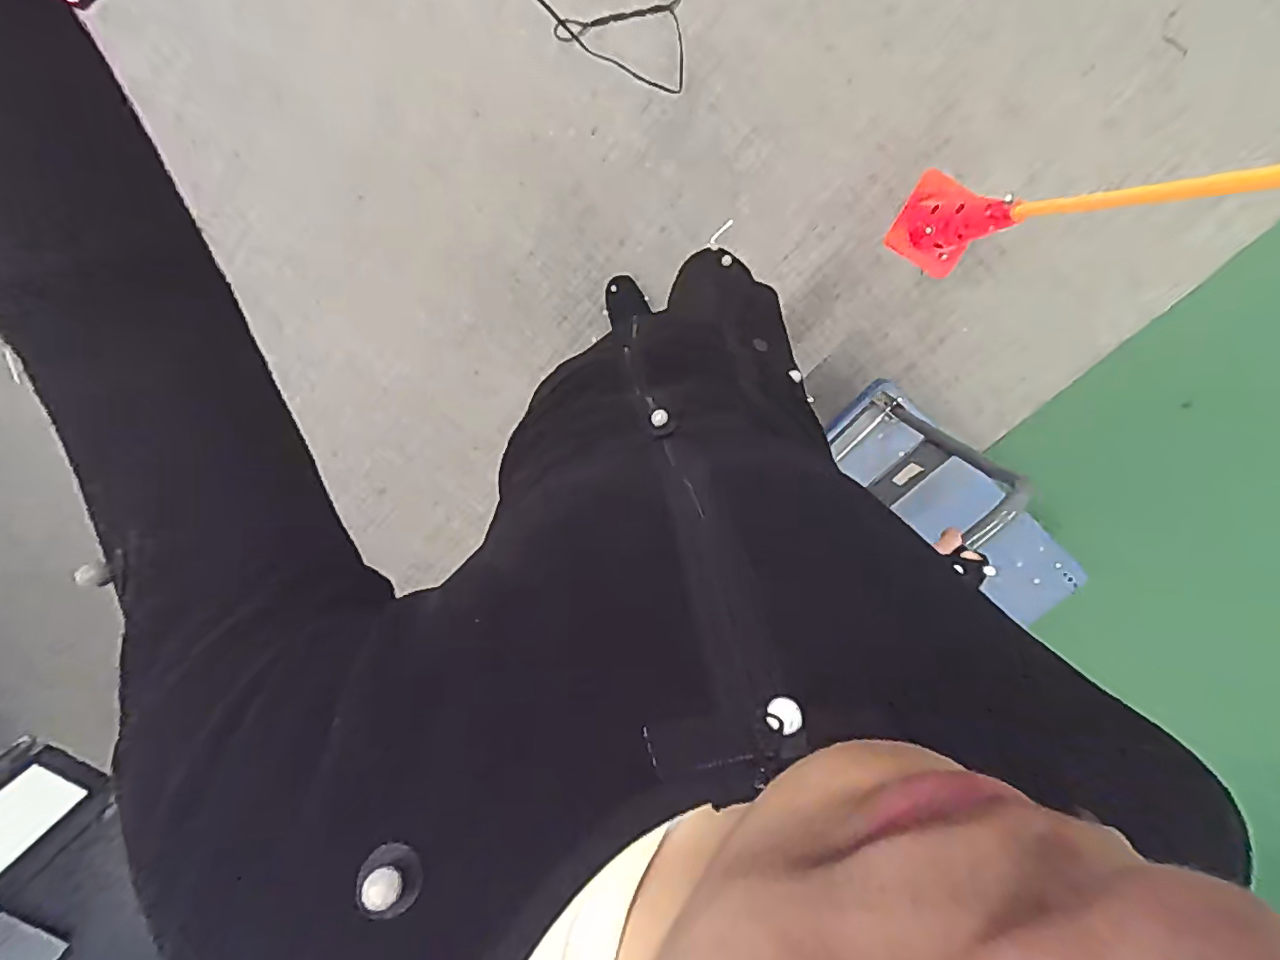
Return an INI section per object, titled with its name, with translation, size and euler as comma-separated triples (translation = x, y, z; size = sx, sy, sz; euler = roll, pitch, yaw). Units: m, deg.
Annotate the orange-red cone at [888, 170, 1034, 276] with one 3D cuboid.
[orange-red cone]
translation = 0.752, -0.590, 1.212
size = 0.198, 0.360, 0.199
euler = 28, 109, -8
